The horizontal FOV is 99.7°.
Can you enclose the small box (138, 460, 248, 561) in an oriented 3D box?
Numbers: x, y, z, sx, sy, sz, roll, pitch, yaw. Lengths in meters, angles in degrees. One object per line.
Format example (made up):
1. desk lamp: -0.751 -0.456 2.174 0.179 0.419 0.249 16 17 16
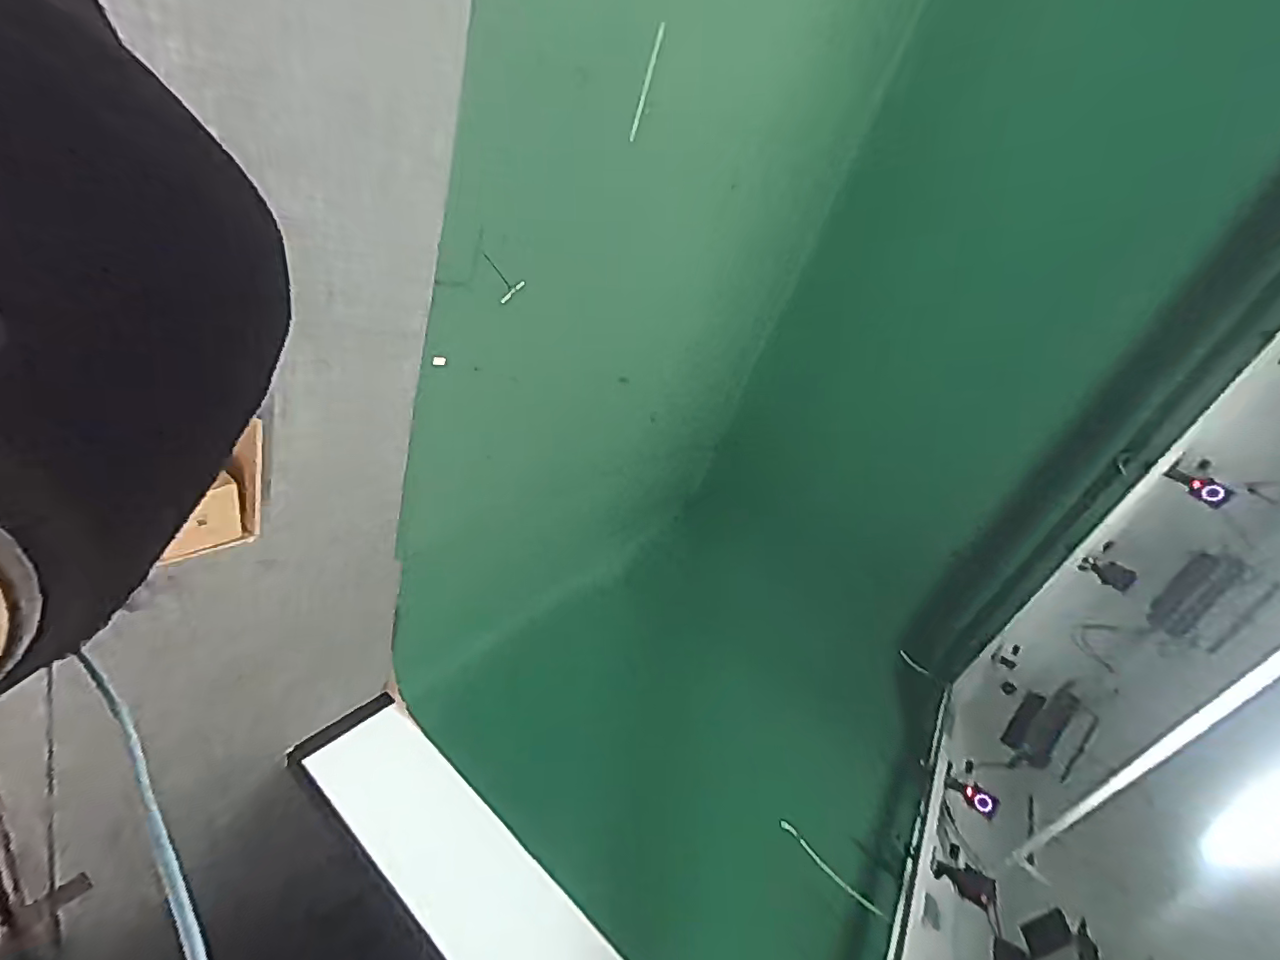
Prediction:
1. small box: -1.125 0.066 1.365 0.168 0.176 0.179 -24 140 -50
